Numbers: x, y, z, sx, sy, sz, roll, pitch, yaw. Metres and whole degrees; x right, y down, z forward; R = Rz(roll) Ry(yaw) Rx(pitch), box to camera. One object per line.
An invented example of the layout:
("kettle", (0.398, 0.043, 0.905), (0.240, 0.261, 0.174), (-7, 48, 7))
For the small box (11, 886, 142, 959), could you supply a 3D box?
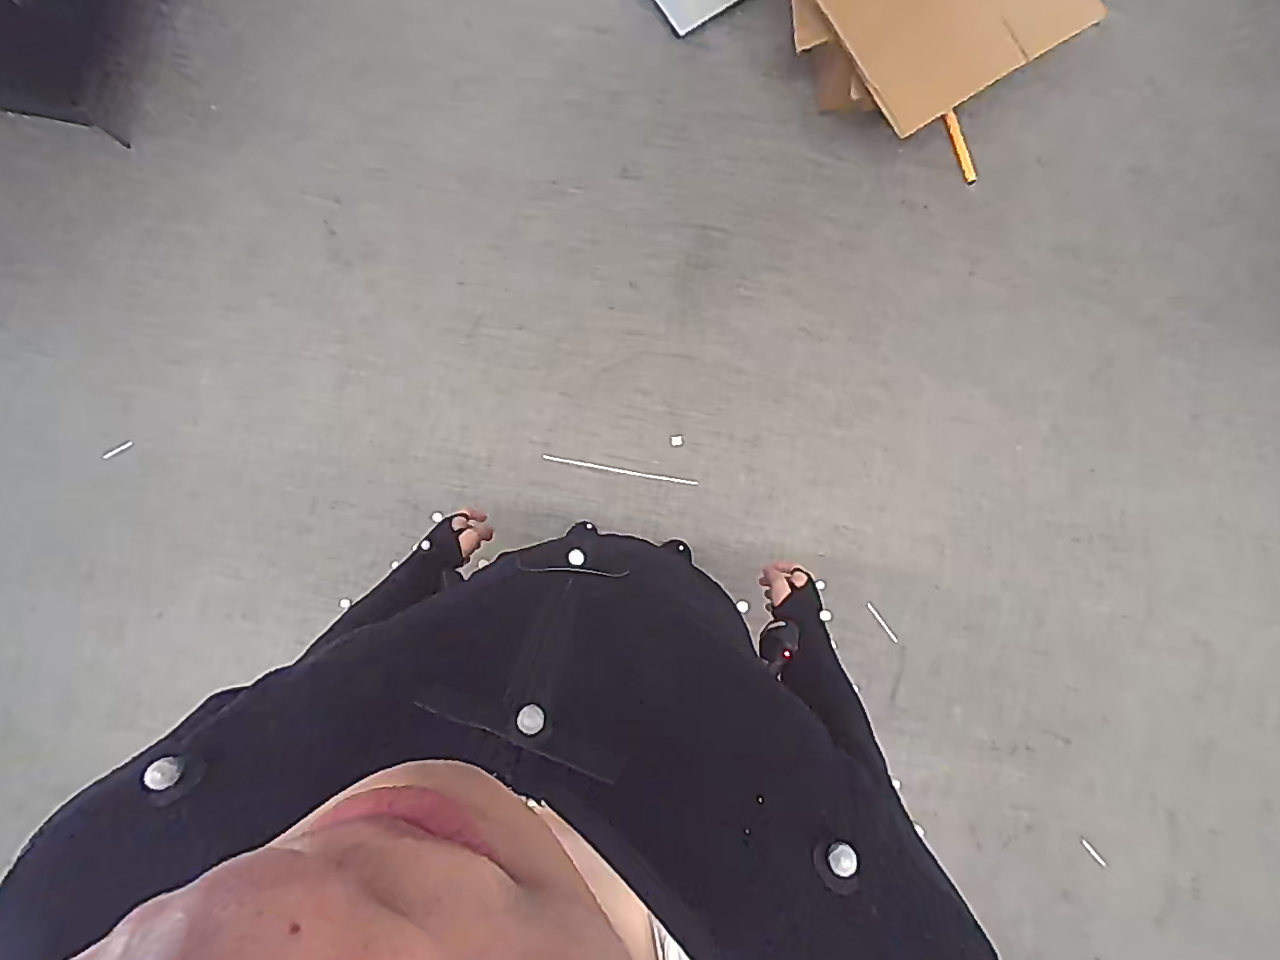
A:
("small box", (-1.493, 1.228, 1.434), (0.179, 0.176, 0.168), (15, 86, 1))
